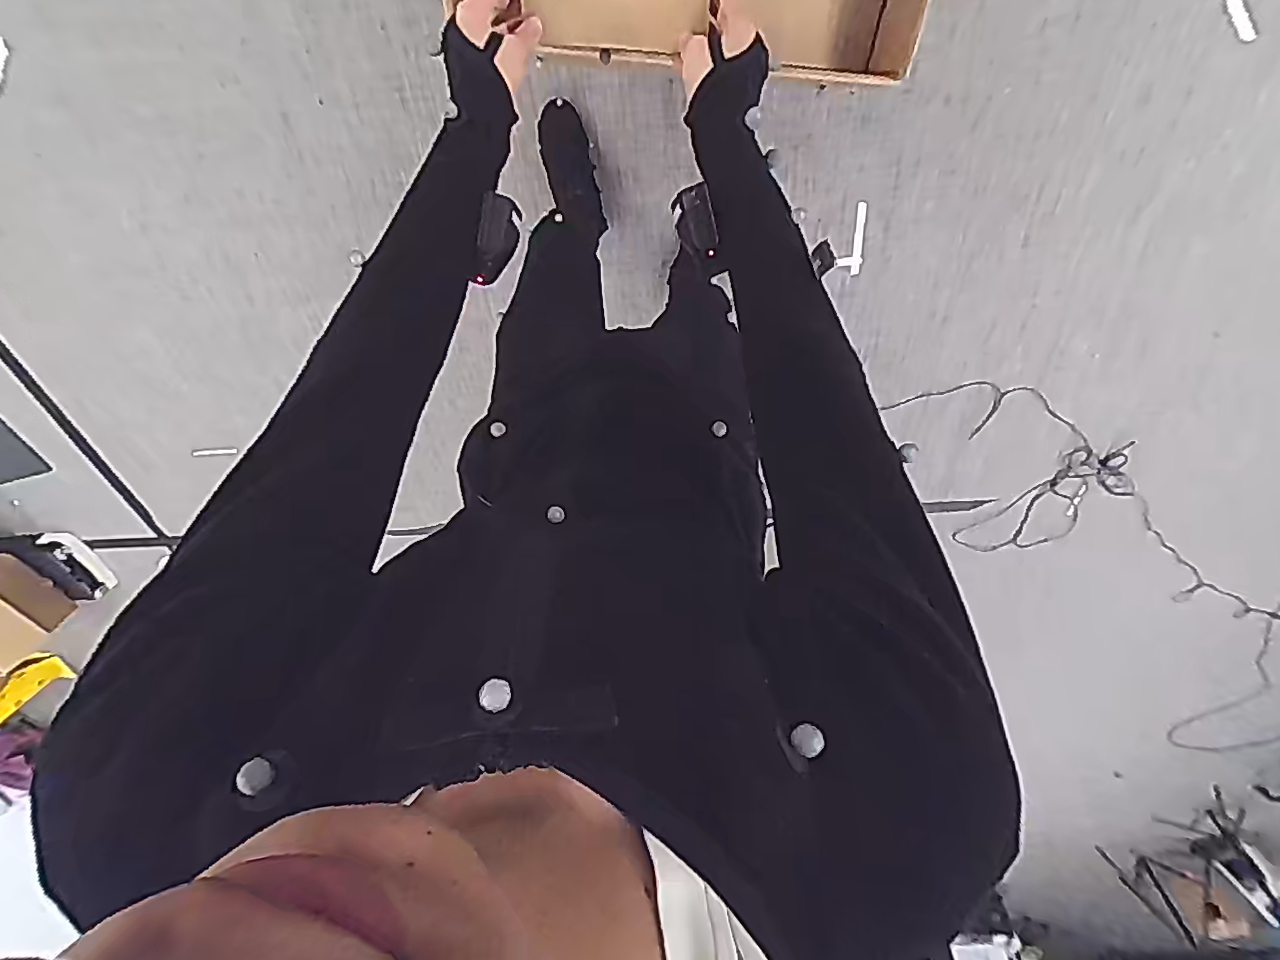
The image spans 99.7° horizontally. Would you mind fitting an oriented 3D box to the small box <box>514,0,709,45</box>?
[{"bbox_3d":[-0.022,-0.523,0.503,0.179,0.176,0.168,2,134,-4],"label":"small box"}]
